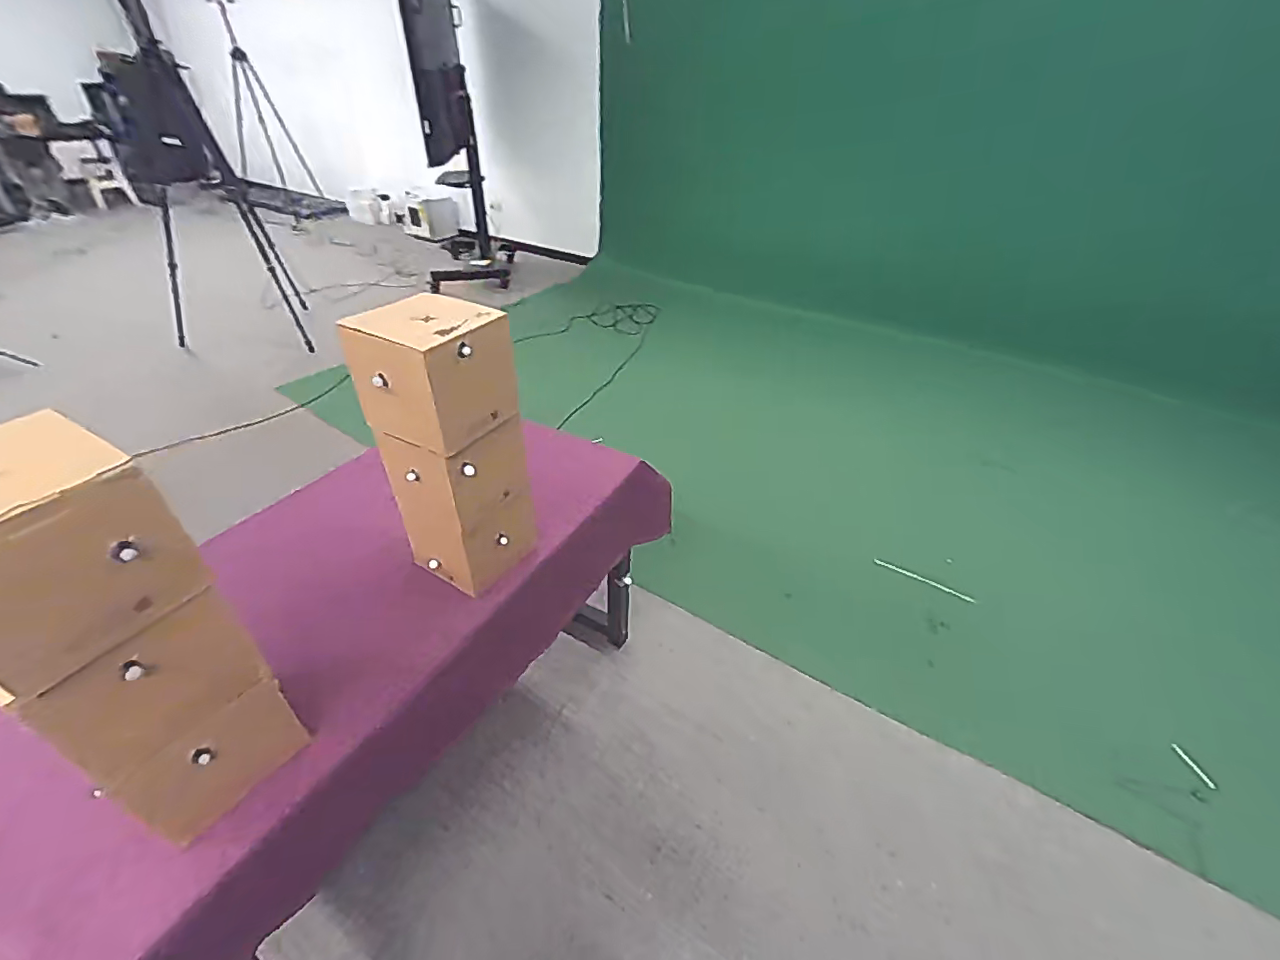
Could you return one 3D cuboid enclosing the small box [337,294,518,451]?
[{"bbox_3d":[-0.309,-0.165,0.818,0.179,0.176,0.168,19,41,23],"label":"small box"}]

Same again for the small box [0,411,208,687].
[{"bbox_3d":[-0.566,0.063,0.511,0.179,0.176,0.168,20,41,23],"label":"small box"}]

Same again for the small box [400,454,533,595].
[{"bbox_3d":[-0.320,0.084,1.035,0.168,0.176,0.179,22,43,24],"label":"small box"}]

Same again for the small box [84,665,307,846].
[{"bbox_3d":[-0.582,0.325,0.704,0.168,0.176,0.179,23,42,24],"label":"small box"}]

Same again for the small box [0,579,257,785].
[{"bbox_3d":[-0.575,0.193,0.609,0.168,0.176,0.179,22,43,24],"label":"small box"}]
